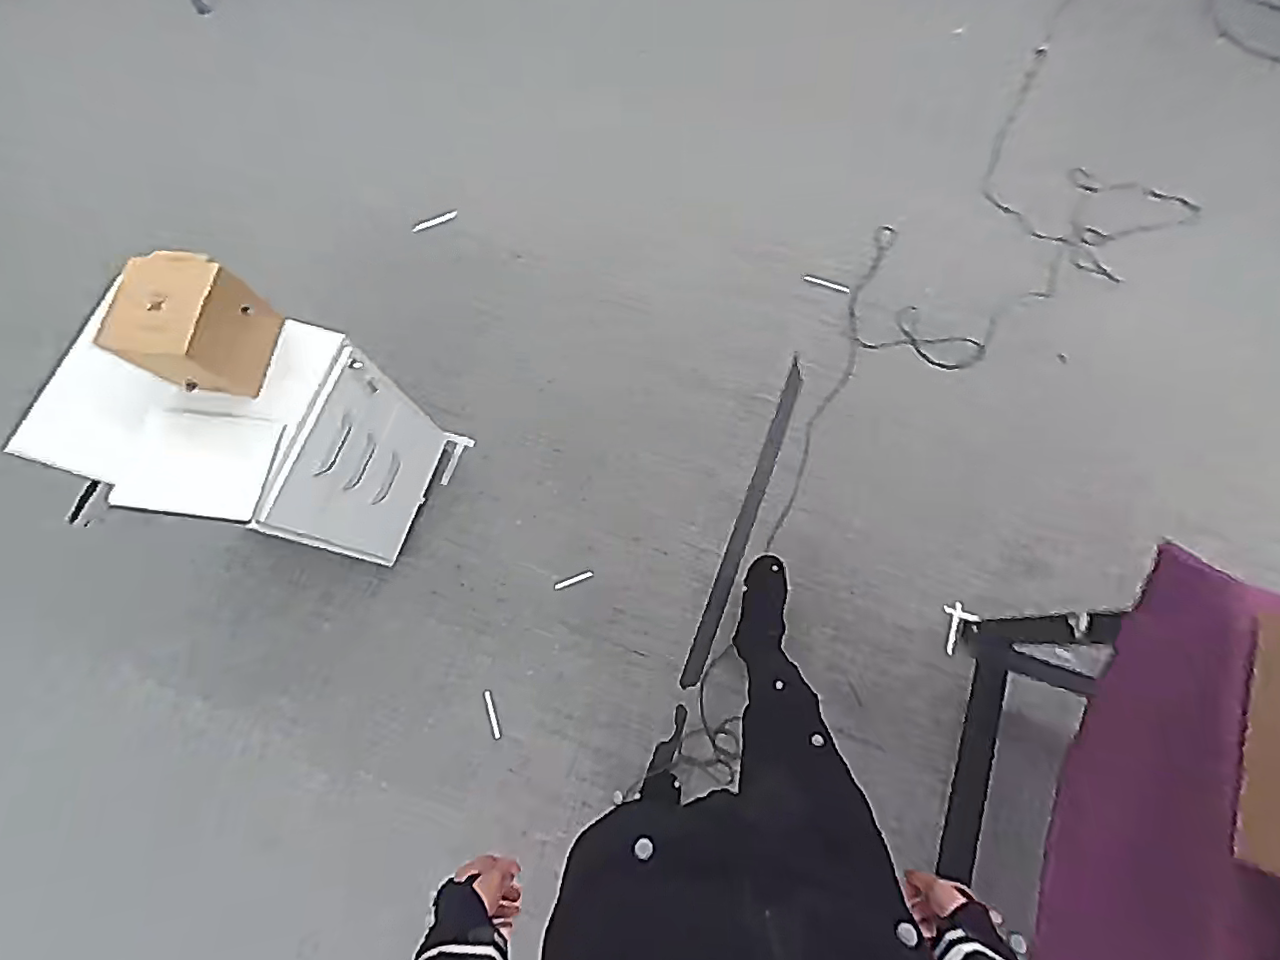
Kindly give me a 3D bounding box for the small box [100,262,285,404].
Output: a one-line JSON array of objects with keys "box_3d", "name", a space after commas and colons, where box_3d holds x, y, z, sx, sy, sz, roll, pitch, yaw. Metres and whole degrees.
[{"box_3d": [-0.783, -0.258, 0.970, 0.168, 0.176, 0.179, 8, 75, 5], "name": "small box"}]
